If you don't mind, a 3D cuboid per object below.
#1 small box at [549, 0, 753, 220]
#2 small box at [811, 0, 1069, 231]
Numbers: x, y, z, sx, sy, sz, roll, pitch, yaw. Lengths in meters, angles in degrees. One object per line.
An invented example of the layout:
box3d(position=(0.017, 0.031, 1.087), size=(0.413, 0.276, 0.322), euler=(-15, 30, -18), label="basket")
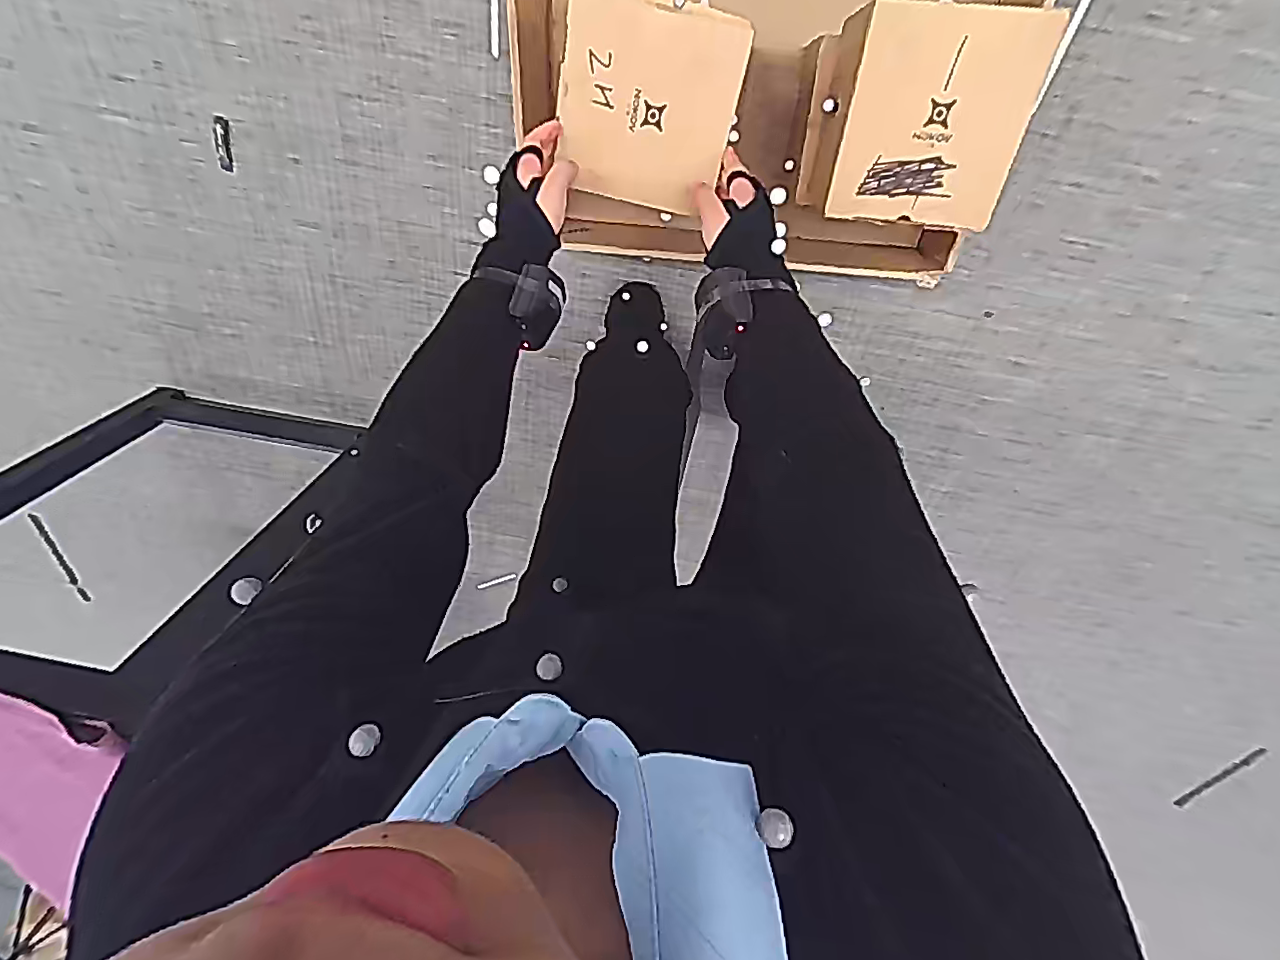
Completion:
box3d(position=(0.011, -0.409, 0.596), size=(0.179, 0.176, 0.168), euler=(13, 126, -2), label="small box")
box3d(position=(0.287, -0.380, 0.572), size=(0.168, 0.176, 0.179), euler=(8, 125, 4), label="small box")
